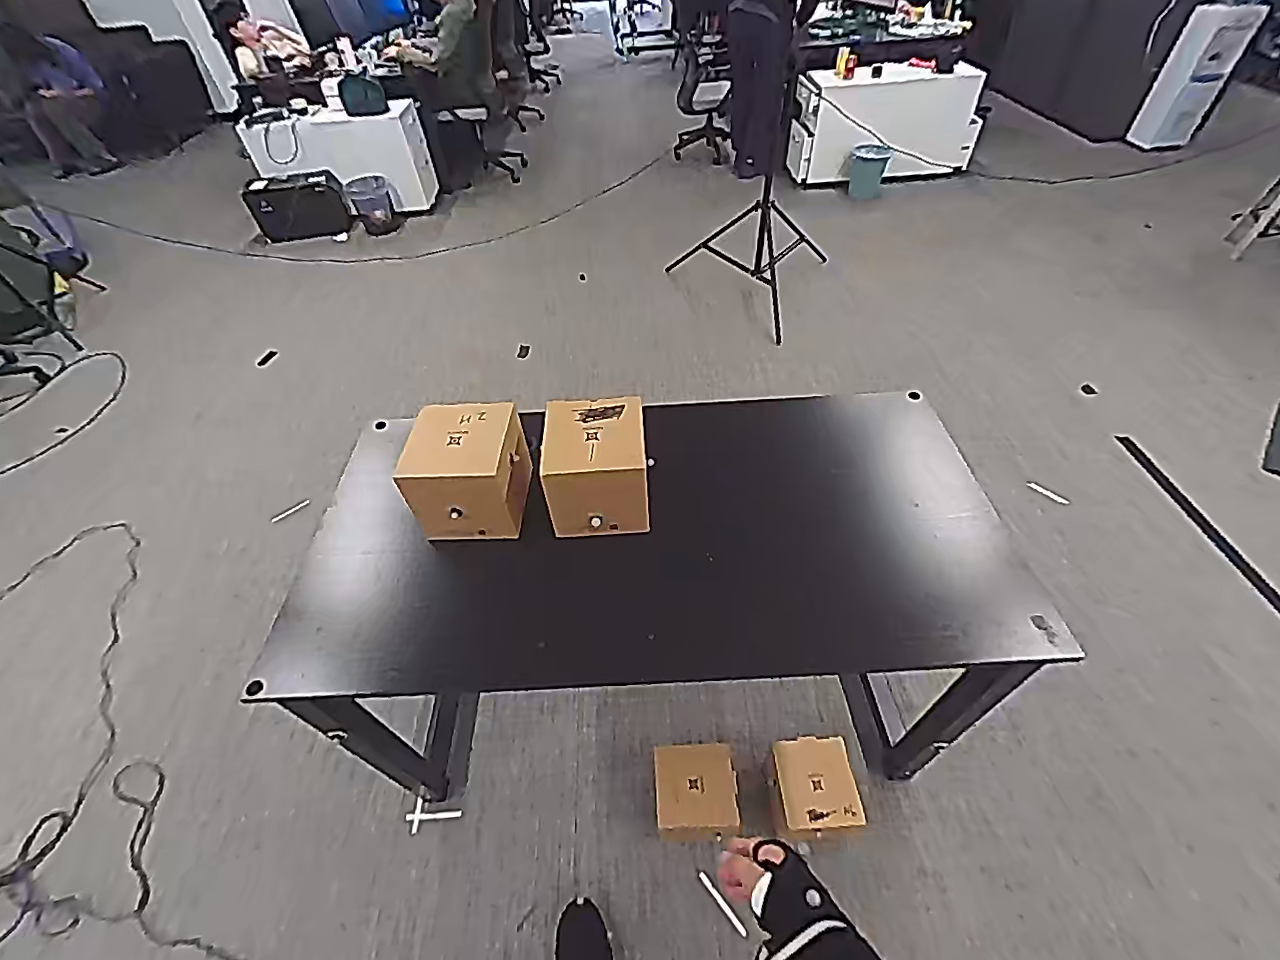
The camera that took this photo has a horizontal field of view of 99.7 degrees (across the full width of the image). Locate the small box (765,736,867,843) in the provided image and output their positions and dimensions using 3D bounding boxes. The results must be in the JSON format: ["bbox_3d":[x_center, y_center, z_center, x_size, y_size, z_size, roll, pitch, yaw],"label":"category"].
[{"bbox_3d":[0.390,0.707,1.235,0.168,0.176,0.179,-5,47,1],"label":"small box"}]

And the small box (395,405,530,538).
[{"bbox_3d":[-0.298,-0.011,0.953,0.168,0.176,0.179,-1,47,2],"label":"small box"}]

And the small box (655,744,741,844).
[{"bbox_3d":[0.127,0.722,1.243,0.179,0.176,0.168,-5,47,1],"label":"small box"}]

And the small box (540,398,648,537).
[{"bbox_3d":[-0.073,-0.021,0.946,0.168,0.176,0.179,-4,48,1],"label":"small box"}]
